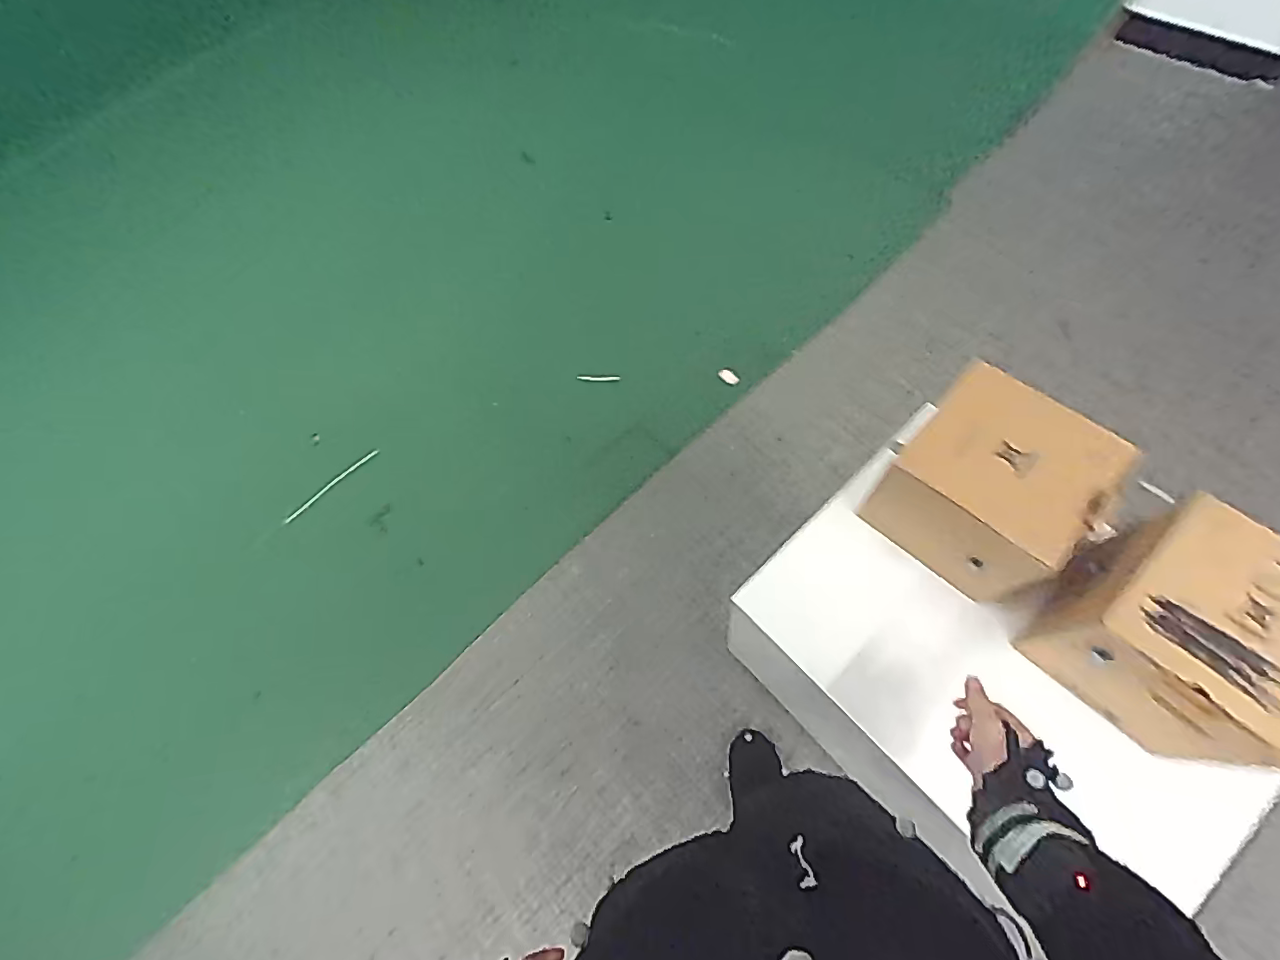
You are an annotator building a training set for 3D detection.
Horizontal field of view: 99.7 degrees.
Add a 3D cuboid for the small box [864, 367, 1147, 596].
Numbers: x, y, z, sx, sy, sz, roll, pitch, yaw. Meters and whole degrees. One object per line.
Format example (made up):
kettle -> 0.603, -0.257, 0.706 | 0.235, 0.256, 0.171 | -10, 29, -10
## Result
small box -> 0.392, 0.013, 0.616 | 0.179, 0.176, 0.168 | 40, 77, 22
